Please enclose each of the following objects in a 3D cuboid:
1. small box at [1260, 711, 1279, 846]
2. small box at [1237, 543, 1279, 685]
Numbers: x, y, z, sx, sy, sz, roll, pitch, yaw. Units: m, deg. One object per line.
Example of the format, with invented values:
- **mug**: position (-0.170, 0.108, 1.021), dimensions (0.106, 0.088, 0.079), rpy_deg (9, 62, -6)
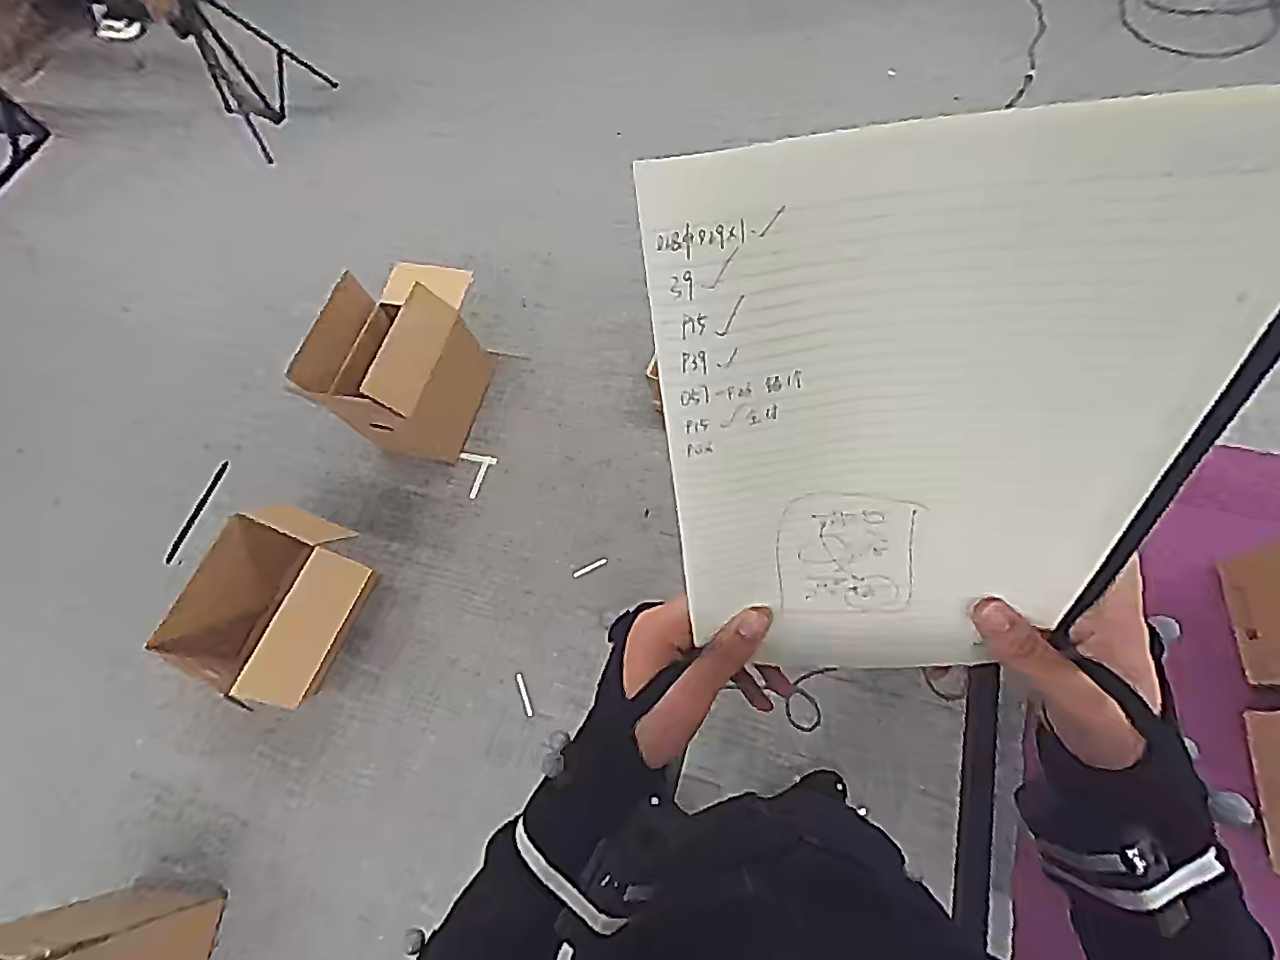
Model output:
- **small box**: position (0.807, 0.341, 0.550), dimensions (0.168, 0.176, 0.179), rpy_deg (8, 69, 13)
- **small box**: position (0.860, 0.158, 0.624), dimensions (0.179, 0.176, 0.168), rpy_deg (5, 68, 11)
